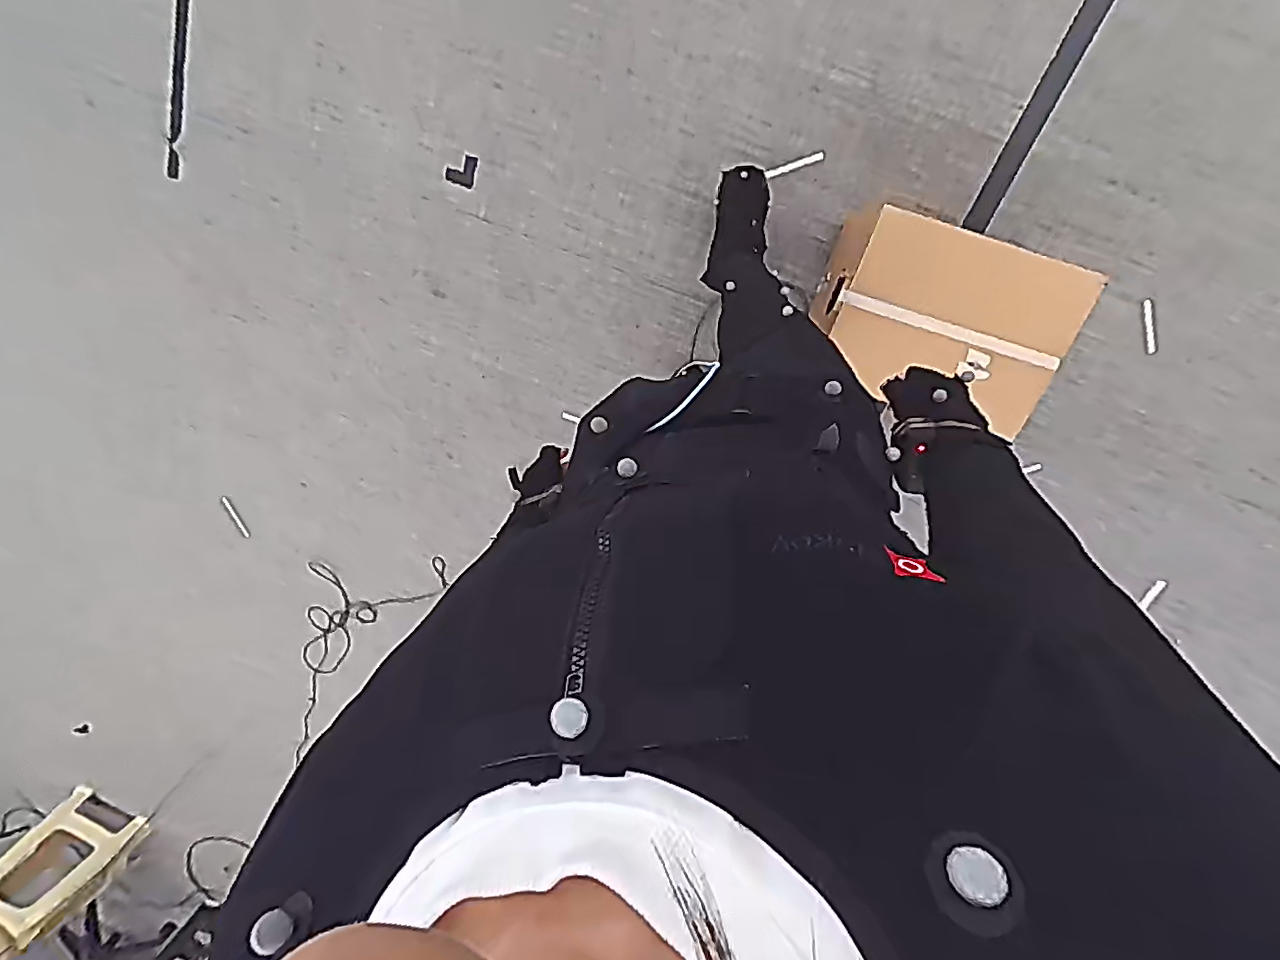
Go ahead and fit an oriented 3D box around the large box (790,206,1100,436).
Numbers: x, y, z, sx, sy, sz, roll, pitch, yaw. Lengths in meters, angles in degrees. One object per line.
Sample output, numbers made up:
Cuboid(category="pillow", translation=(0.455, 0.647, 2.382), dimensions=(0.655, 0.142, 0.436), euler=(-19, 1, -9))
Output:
Cuboid(category="large box", translation=(0.570, -0.327, 1.113), dimensions=(0.408, 0.320, 0.320), euler=(18, 112, 0))
